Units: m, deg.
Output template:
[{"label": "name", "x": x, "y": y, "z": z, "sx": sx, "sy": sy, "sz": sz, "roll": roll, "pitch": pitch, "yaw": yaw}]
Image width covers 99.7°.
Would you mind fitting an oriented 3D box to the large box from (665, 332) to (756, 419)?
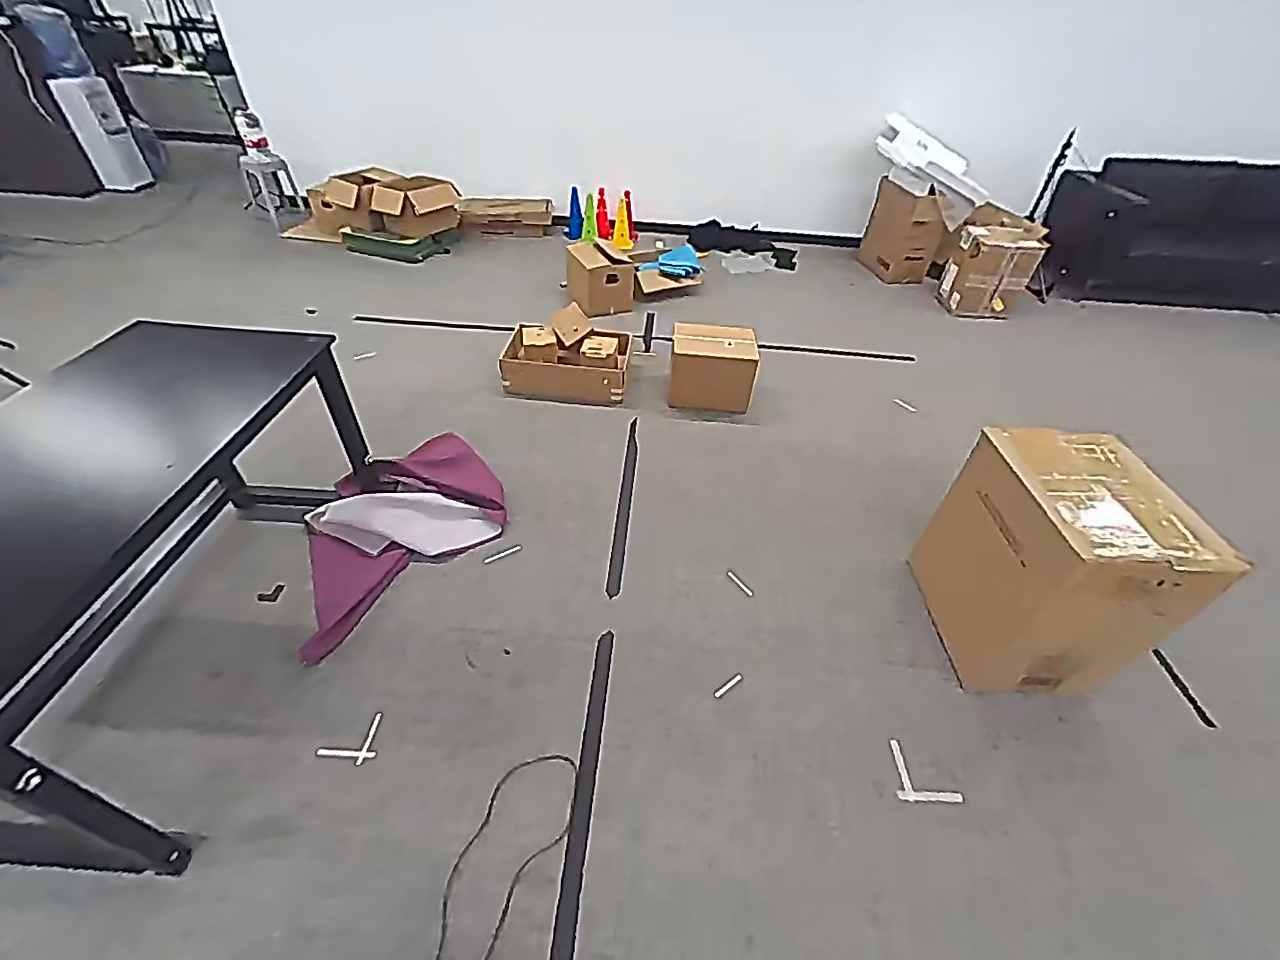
[{"label": "large box", "x": 0.344, "y": -0.531, "z": 2.741, "sx": 0.408, "sy": 0.320, "sz": 0.320, "roll": 5, "pitch": 42, "yaw": -1}]
